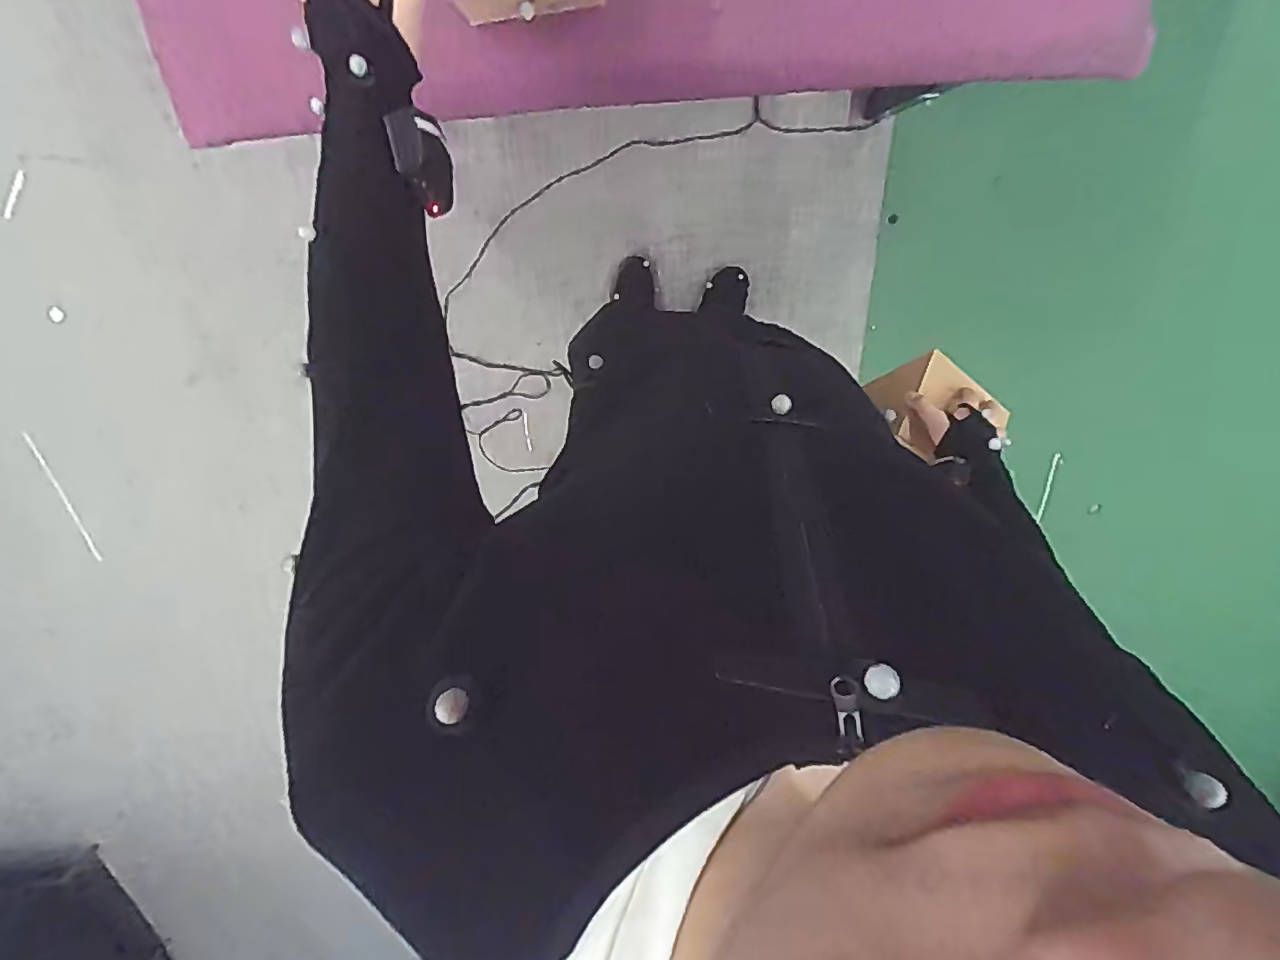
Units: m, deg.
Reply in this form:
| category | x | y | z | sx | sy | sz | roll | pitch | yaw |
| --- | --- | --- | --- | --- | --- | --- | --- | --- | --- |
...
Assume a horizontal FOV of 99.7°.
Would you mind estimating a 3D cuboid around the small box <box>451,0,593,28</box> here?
| category | x | y | z | sx | sy | sz | roll | pitch | yaw |
| --- | --- | --- | --- | --- | --- | --- | --- | --- | --- |
| small box | -0.142 | -0.602 | 0.545 | 0.168 | 0.176 | 0.179 | -7 | 115 | 2 |

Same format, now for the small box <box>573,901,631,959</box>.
| category | x | y | z | sx | sy | sz | roll | pitch | yaw |
| --- | --- | --- | --- | --- | --- | --- | --- | --- | --- |
| small box | -0.112 | 1.437 | 1.658 | 0.168 | 0.176 | 0.179 | -1 | 113 | 0 |

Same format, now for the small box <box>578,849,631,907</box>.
| category | x | y | z | sx | sy | sz | roll | pitch | yaw |
| --- | --- | --- | --- | --- | --- | --- | --- | --- | --- |
| small box | -0.115 | 1.374 | 1.807 | 0.168 | 0.176 | 0.179 | -1 | 113 | -1 |

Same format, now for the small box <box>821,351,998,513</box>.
| category | x | y | z | sx | sy | sz | roll | pitch | yaw |
| --- | --- | --- | --- | --- | --- | --- | --- | --- | --- |
| small box | 0.424 | -0.066 | 0.873 | 0.168 | 0.176 | 0.179 | 37 | 69 | -10 |
